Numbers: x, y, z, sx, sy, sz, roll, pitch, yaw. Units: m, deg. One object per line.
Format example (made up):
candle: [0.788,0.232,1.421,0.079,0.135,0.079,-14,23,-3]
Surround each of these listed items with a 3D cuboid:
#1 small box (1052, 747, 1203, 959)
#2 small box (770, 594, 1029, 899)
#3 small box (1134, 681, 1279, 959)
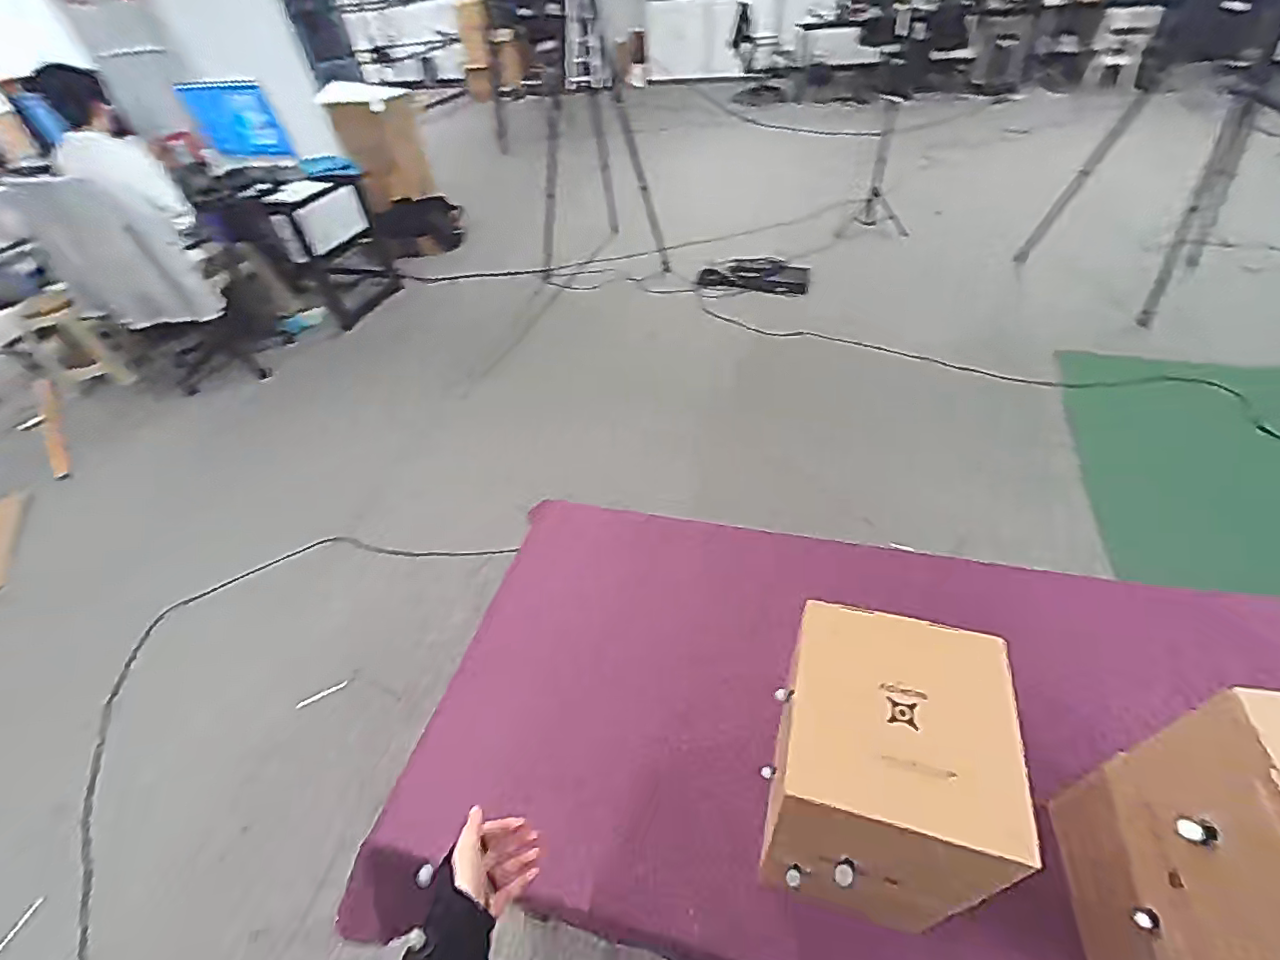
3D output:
small box: [0.543,0.394,0.524,0.168,0.176,0.179,6,47,13]
small box: [0.215,0.237,0.491,0.168,0.176,0.179,9,46,17]
small box: [0.528,0.279,0.407,0.179,0.176,0.168,5,46,14]
